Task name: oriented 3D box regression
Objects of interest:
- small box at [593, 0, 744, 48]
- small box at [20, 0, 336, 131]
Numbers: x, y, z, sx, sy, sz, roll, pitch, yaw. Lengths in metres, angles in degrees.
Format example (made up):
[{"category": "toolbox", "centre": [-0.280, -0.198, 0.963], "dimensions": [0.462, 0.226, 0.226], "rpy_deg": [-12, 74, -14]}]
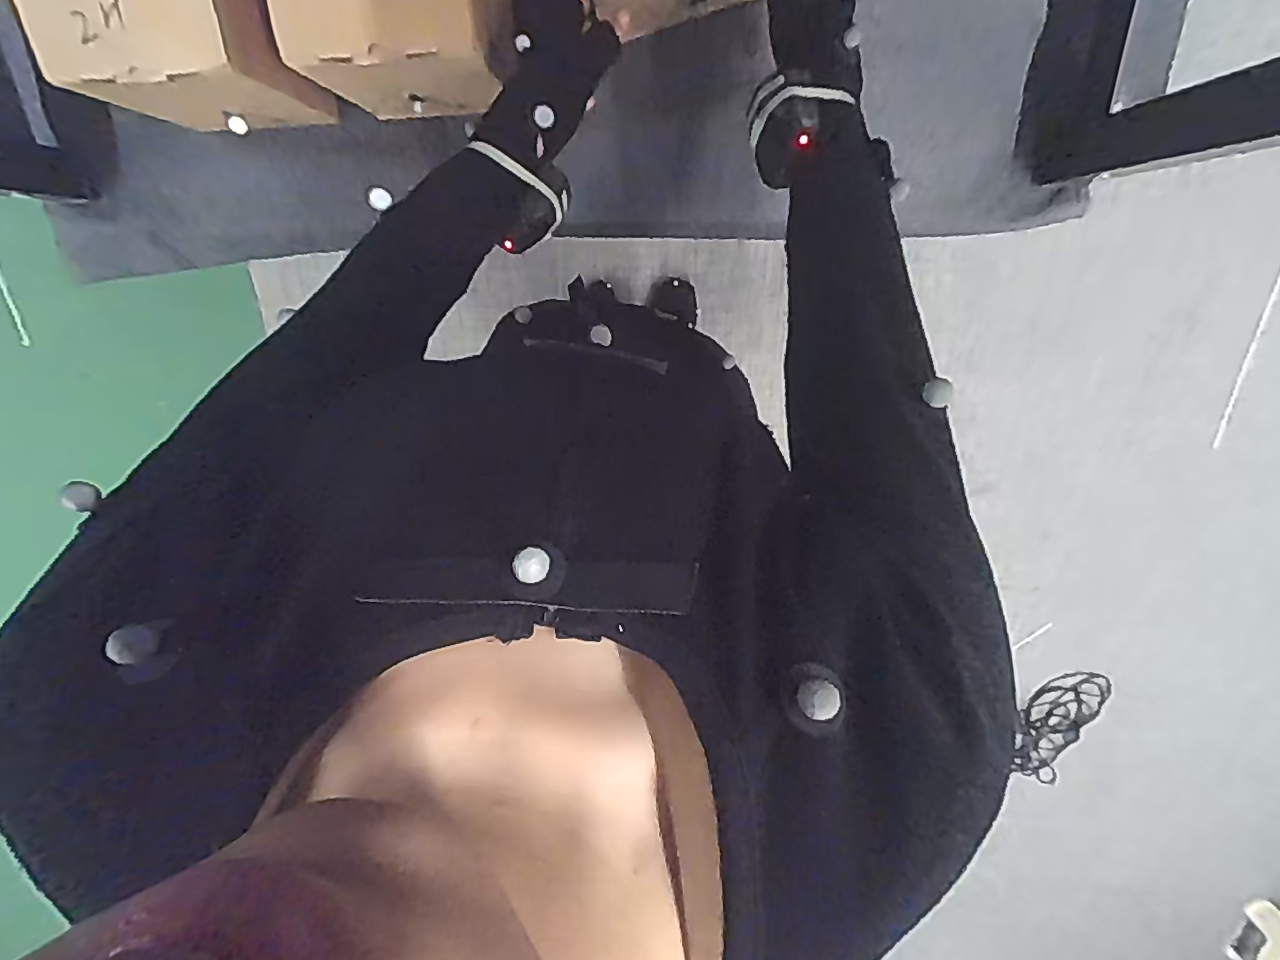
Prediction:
[{"category": "small box", "centre": [0.023, -0.520, 0.460], "dimensions": [0.179, 0.176, 0.168], "rpy_deg": [-14, 110, 7]}, {"category": "small box", "centre": [-0.419, -0.449, 0.501], "dimensions": [0.168, 0.176, 0.179], "rpy_deg": [-2, 111, 2]}]
